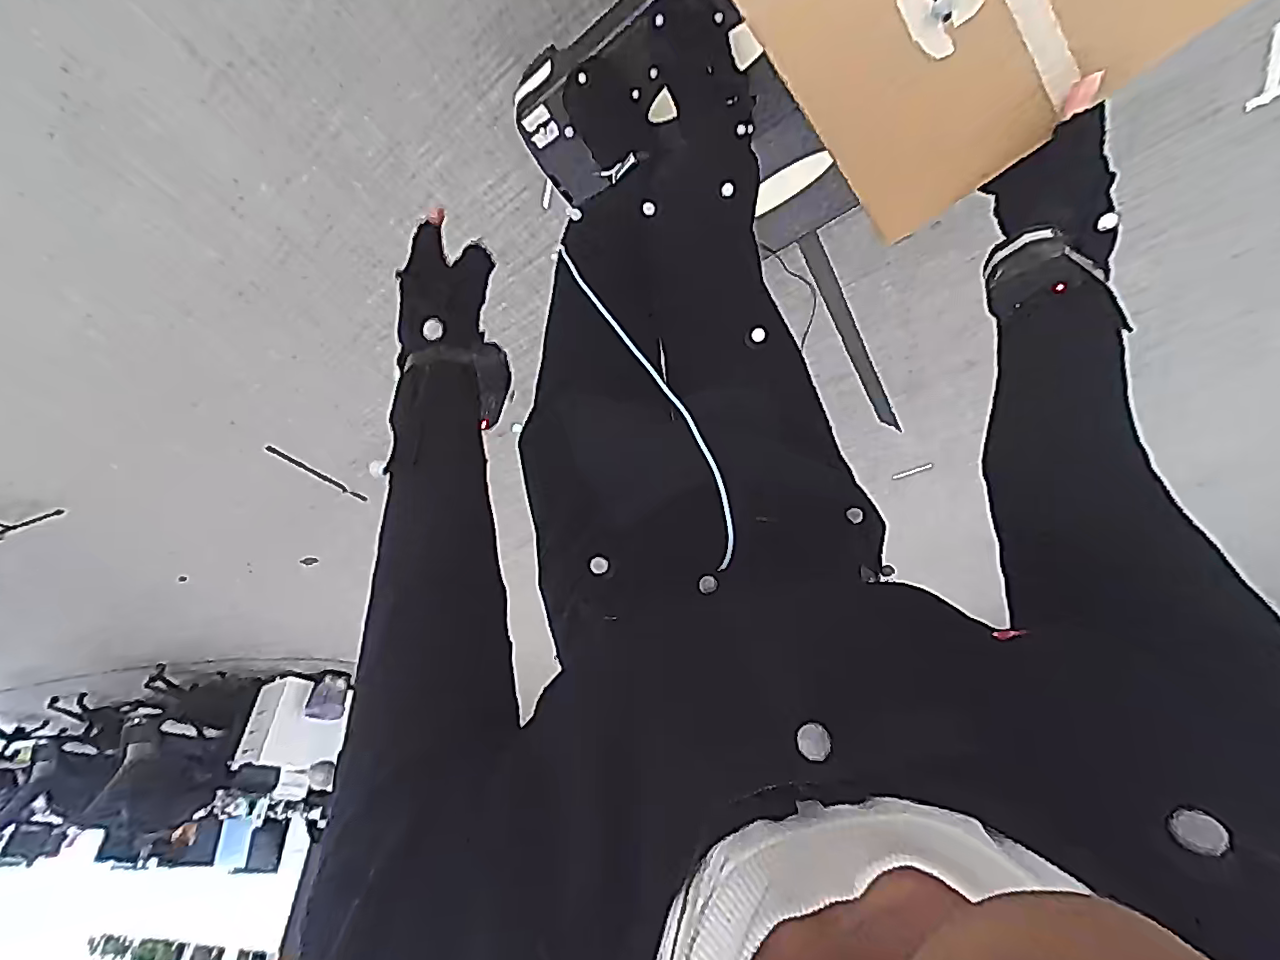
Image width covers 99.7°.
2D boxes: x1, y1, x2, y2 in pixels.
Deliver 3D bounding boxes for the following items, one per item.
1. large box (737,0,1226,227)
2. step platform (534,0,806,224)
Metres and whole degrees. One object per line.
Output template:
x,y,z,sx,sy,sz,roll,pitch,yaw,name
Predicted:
0.255,-0.532,0.482,0.320,0.320,0.408,-29,117,37,large box
0.146,-0.749,0.906,0.684,0.204,0.286,-24,138,28,step platform
